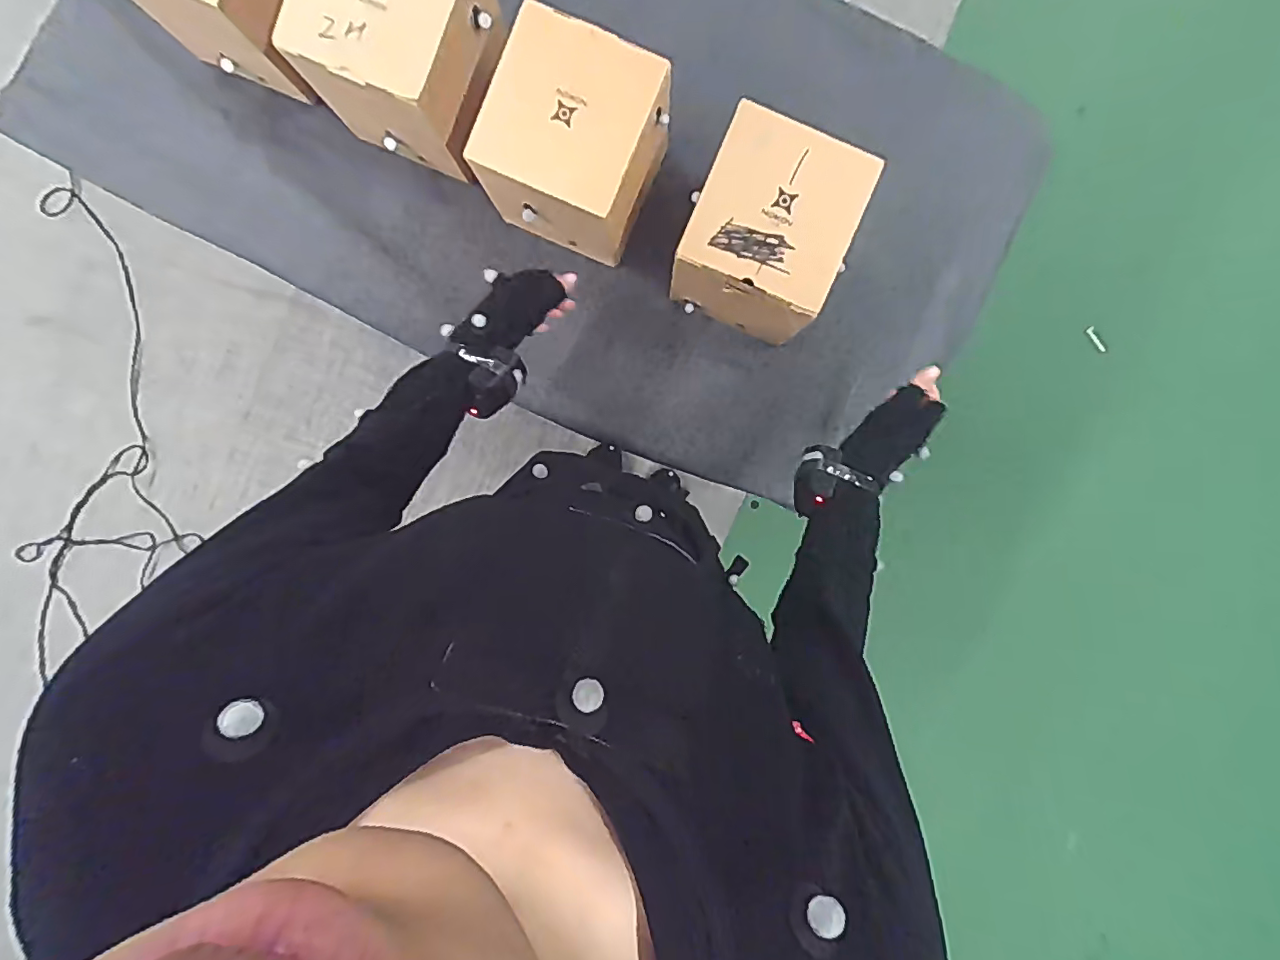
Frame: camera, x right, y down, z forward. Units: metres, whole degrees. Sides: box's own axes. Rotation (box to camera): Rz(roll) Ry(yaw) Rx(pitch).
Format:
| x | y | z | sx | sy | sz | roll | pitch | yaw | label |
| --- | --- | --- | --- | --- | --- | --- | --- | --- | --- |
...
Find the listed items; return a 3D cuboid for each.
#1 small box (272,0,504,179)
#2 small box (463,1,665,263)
| x | y | z | sx | sy | sz | roll | pitch | yaw | label |
| --- | --- | --- | --- | --- | --- | --- | --- | --- | --- |
| -0.272 | -0.501 | 0.632 | 0.168 | 0.176 | 0.179 | 22 | 93 | -1 | small box |
| -0.078 | -0.388 | 0.641 | 0.168 | 0.176 | 0.179 | 23 | 93 | -1 | small box |
